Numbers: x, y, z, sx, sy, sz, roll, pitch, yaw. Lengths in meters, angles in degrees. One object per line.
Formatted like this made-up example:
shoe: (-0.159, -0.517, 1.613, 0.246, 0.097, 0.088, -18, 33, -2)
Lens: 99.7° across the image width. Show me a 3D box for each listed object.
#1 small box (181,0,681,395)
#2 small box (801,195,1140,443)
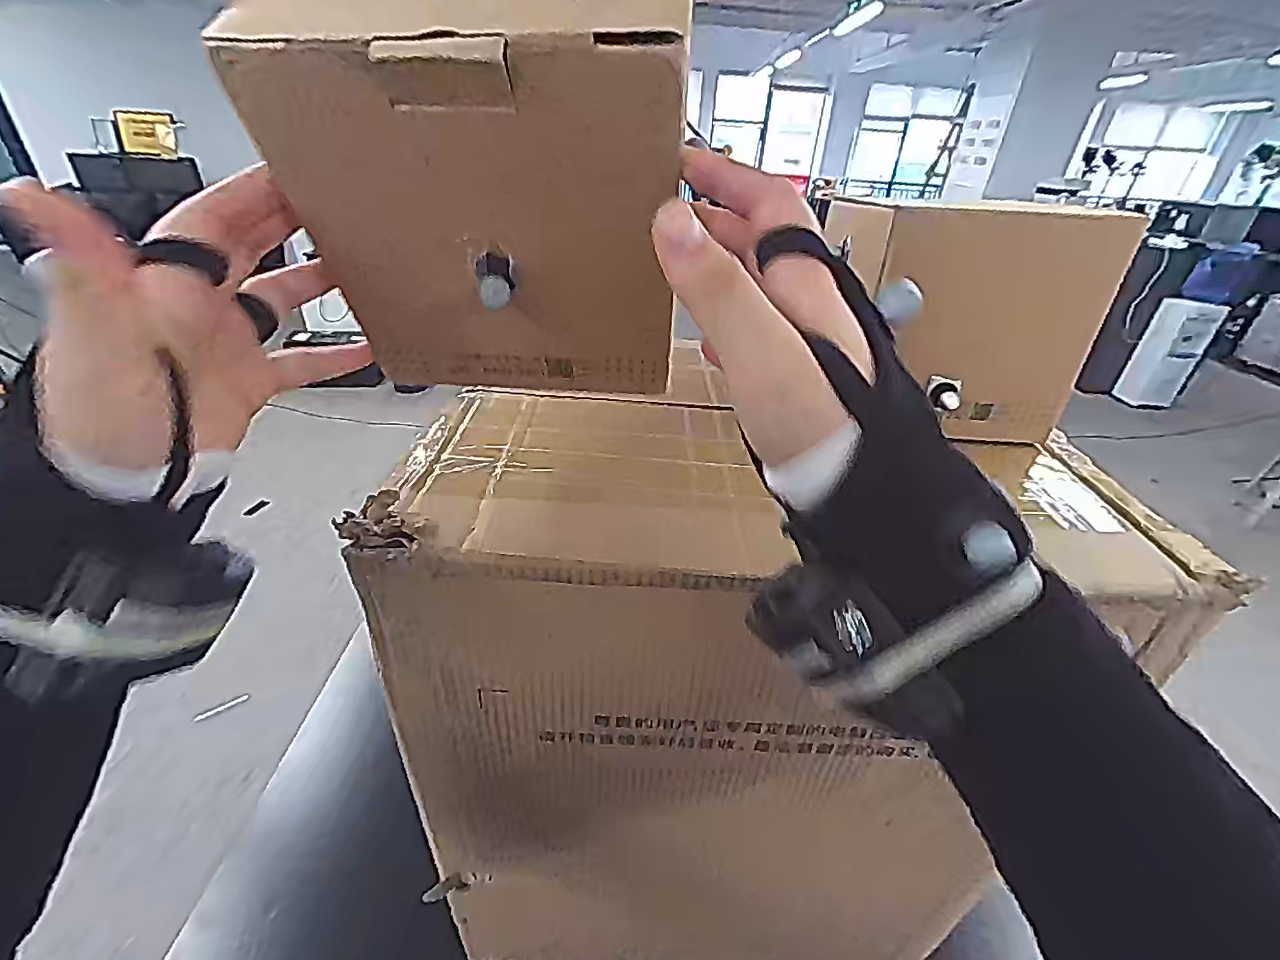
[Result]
small box: (-0.063, -0.161, 0.283, 0.168, 0.176, 0.179, 2, 59, 2)
small box: (0.246, -0.145, 0.465, 0.168, 0.176, 0.179, 1, 31, 2)
